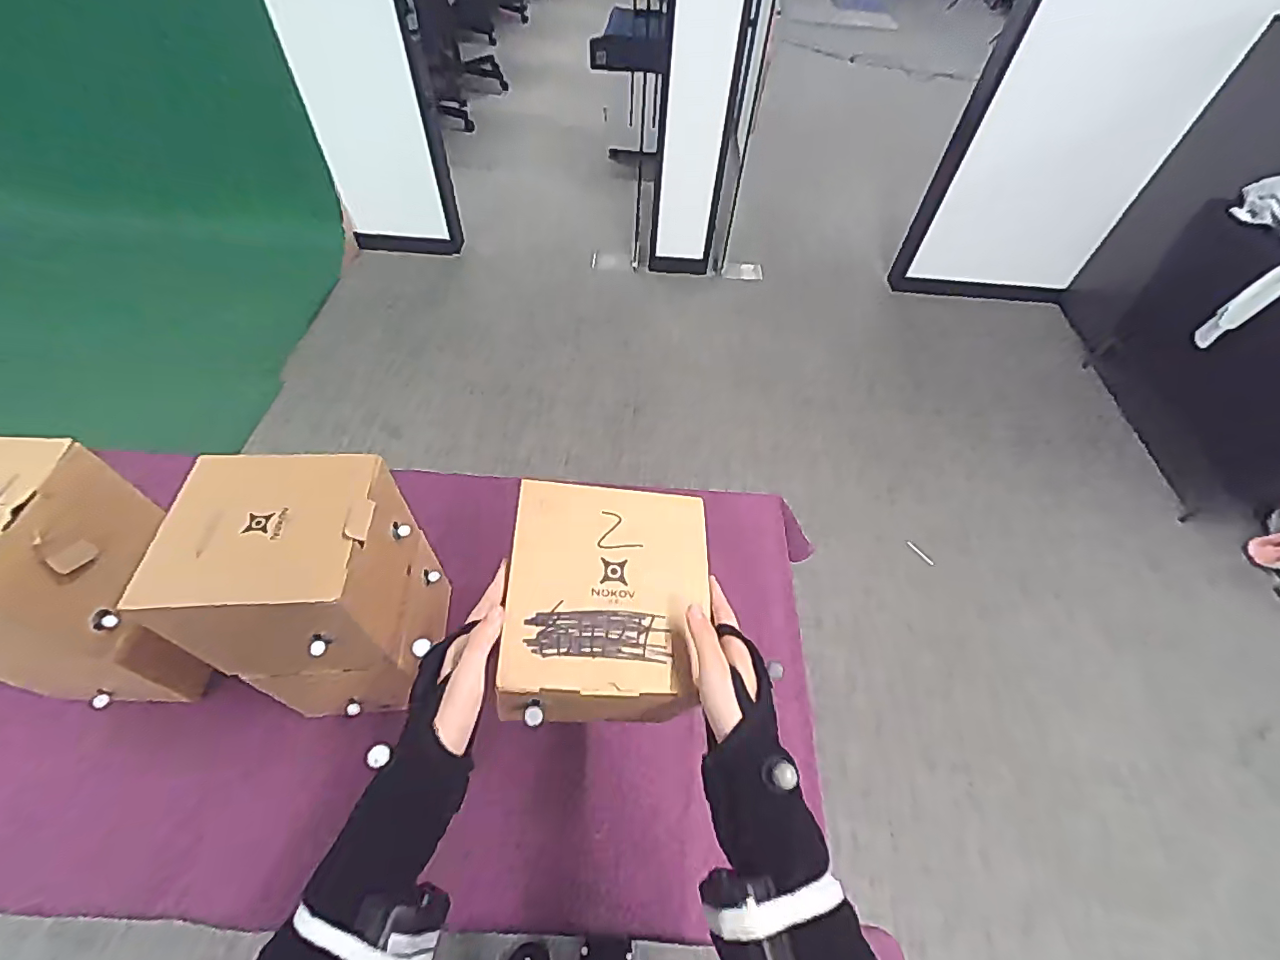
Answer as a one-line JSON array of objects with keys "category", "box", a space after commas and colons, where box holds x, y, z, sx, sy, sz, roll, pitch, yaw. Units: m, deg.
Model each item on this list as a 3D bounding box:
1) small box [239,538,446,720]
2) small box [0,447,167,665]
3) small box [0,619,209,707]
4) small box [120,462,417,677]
[{"category": "small box", "box": [-0.358, 0.193, 0.695, 0.168, 0.176, 0.179, -2, 54, -5]}, {"category": "small box", "box": [-0.646, 0.080, 0.551, 0.179, 0.176, 0.168, 2, 53, -2]}, {"category": "small box", "box": [-0.656, 0.179, 0.682, 0.179, 0.176, 0.168, 2, 53, -3]}, {"category": "small box", "box": [-0.351, 0.097, 0.562, 0.179, 0.176, 0.168, -1, 53, -4]}]
